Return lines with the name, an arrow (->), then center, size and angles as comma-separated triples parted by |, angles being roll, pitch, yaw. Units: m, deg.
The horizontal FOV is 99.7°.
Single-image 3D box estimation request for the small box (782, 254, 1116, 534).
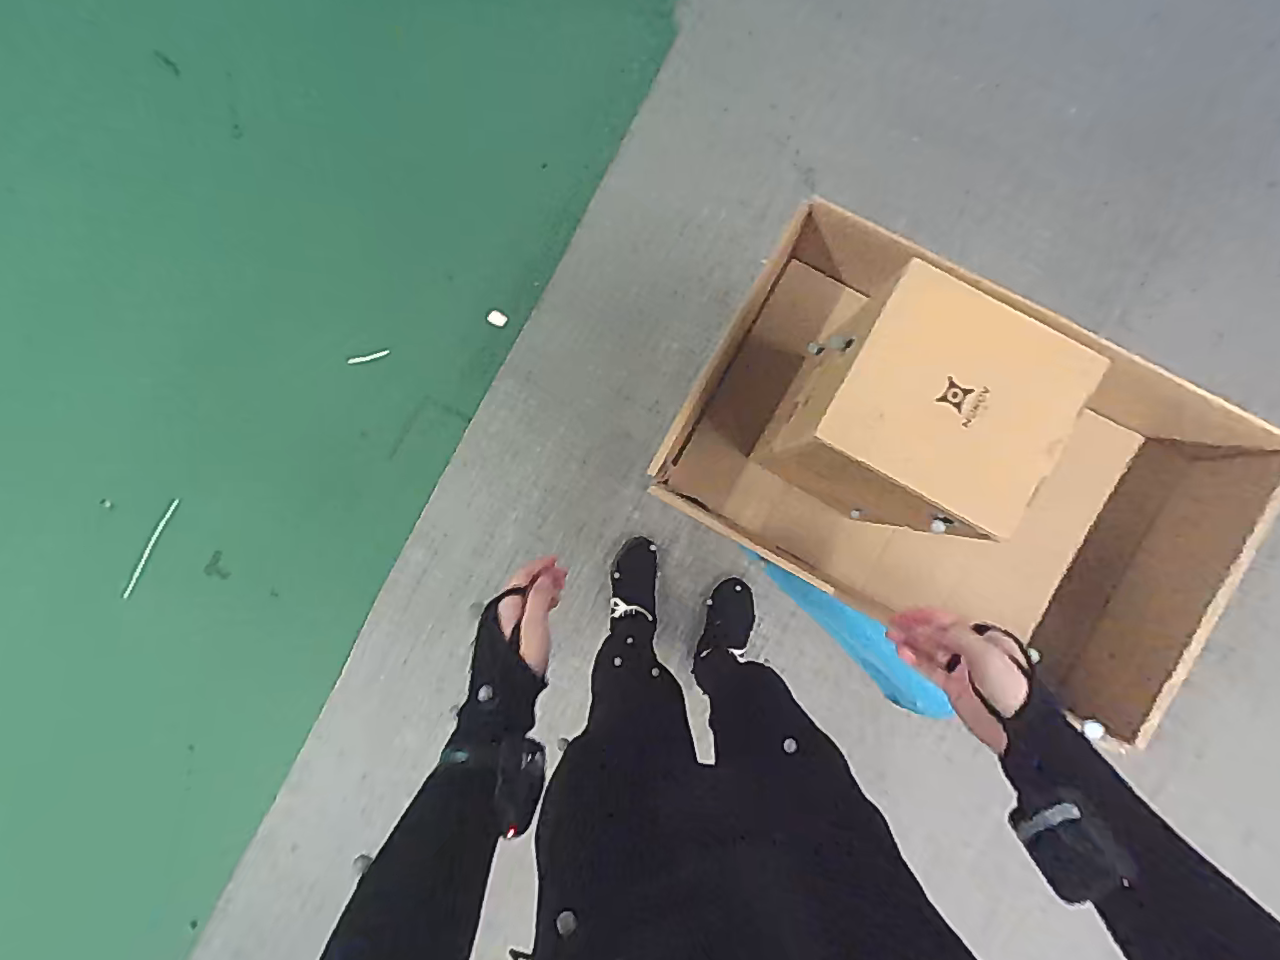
small box -> 0.255, -0.064, 0.497 | 0.179, 0.176, 0.168 | 29, 90, 2
